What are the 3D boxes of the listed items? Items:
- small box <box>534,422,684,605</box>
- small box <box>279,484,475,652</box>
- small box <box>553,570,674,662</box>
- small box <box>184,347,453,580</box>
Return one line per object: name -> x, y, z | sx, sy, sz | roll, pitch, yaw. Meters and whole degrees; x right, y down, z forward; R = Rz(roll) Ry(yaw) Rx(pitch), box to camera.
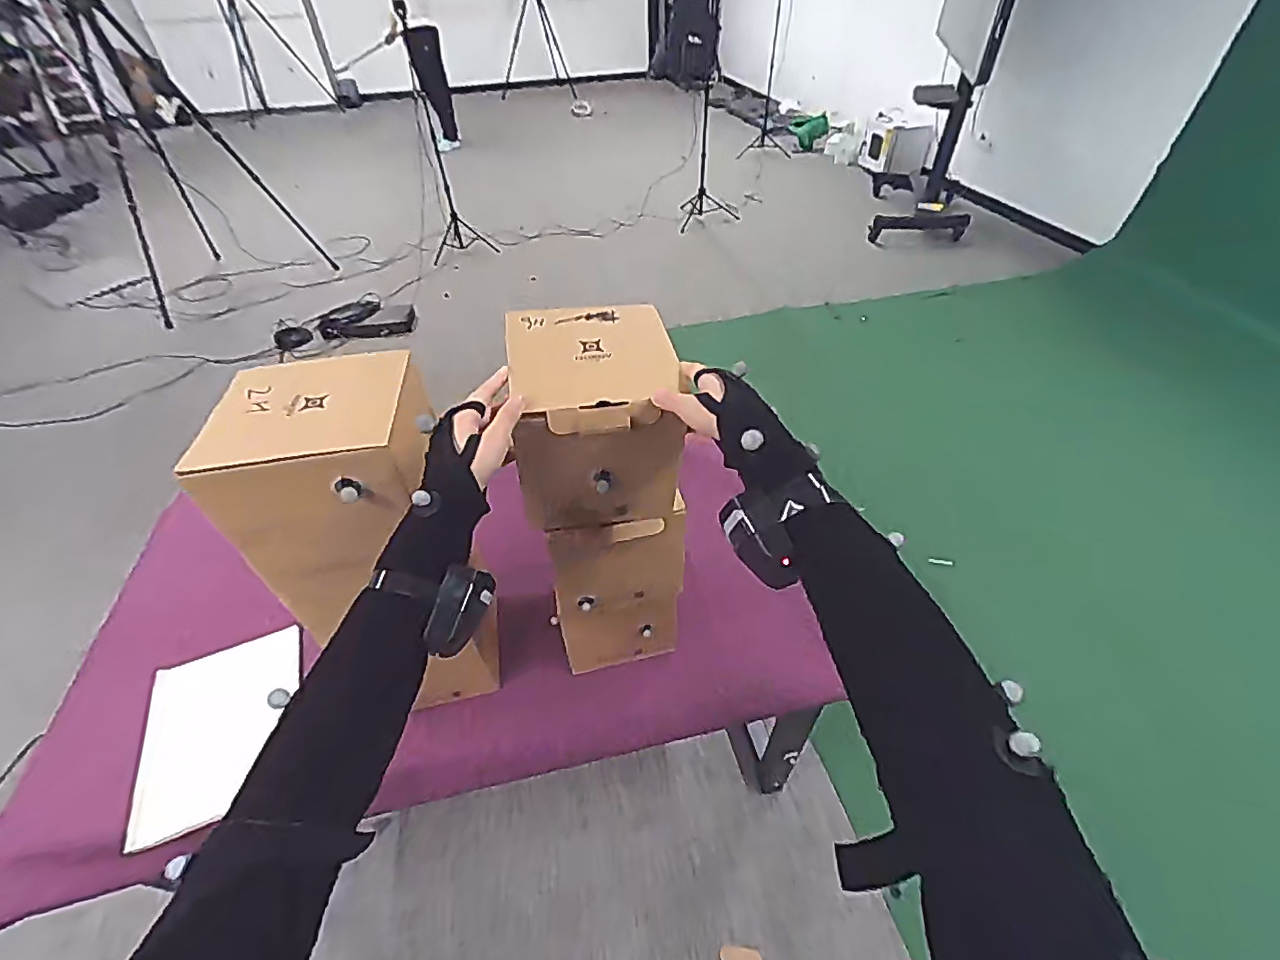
small box -> -0.042, 0.050, 0.728 | 0.168, 0.176, 0.179 | -10, 44, -9
small box -> -0.312, 0.099, 0.687 | 0.168, 0.176, 0.179 | -10, 44, -7
small box -> -0.044, 0.165, 0.844 | 0.168, 0.176, 0.179 | -9, 44, -8
small box -> -0.307, -0.017, 0.569 | 0.179, 0.176, 0.168 | -9, 44, -6
